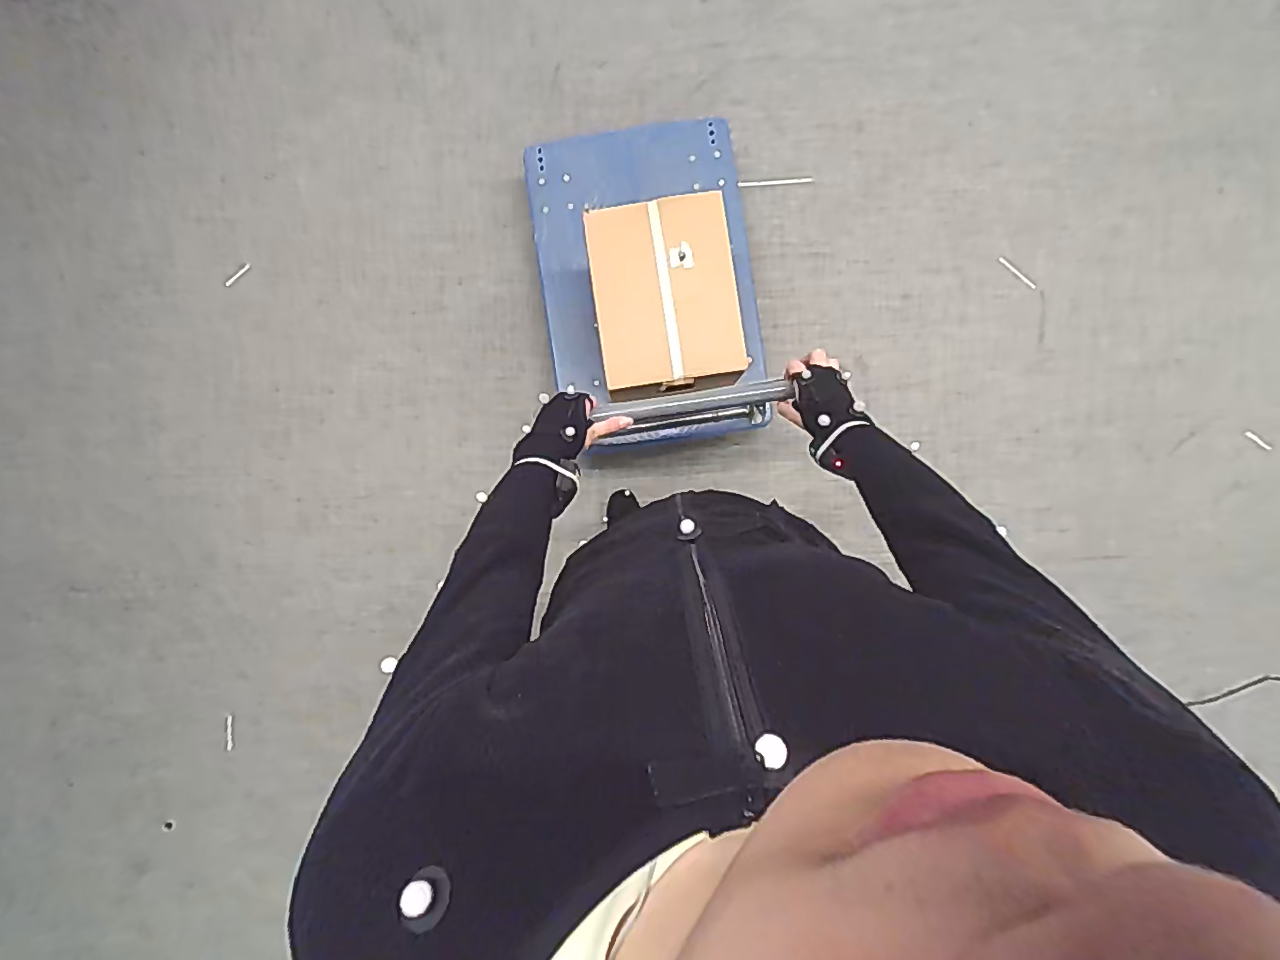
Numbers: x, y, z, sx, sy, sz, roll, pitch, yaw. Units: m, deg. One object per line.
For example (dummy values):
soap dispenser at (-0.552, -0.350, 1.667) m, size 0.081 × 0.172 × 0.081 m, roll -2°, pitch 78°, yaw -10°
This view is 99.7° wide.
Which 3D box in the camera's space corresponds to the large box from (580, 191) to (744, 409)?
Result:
large box at (0.052, -0.417, 1.341) m, size 0.320 × 0.320 × 0.408 m, roll -9°, pitch 88°, yaw 0°
